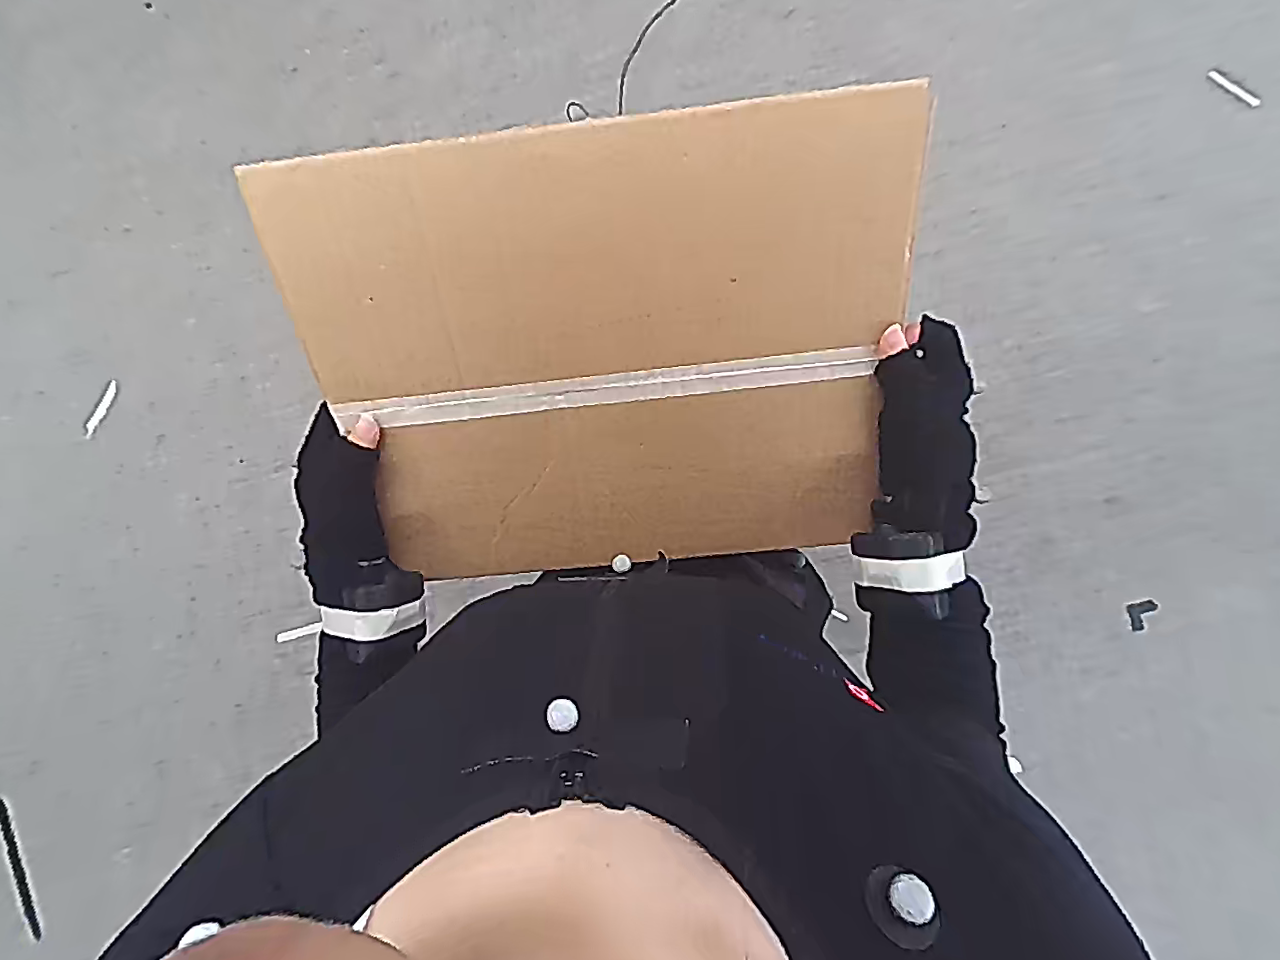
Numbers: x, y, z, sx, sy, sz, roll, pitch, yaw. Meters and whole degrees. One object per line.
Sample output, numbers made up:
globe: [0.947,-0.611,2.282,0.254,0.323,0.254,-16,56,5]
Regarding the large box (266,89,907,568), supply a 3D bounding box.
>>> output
large box: [-0.021,-0.148,0.527,0.408,0.320,0.320,-6,119,3]
